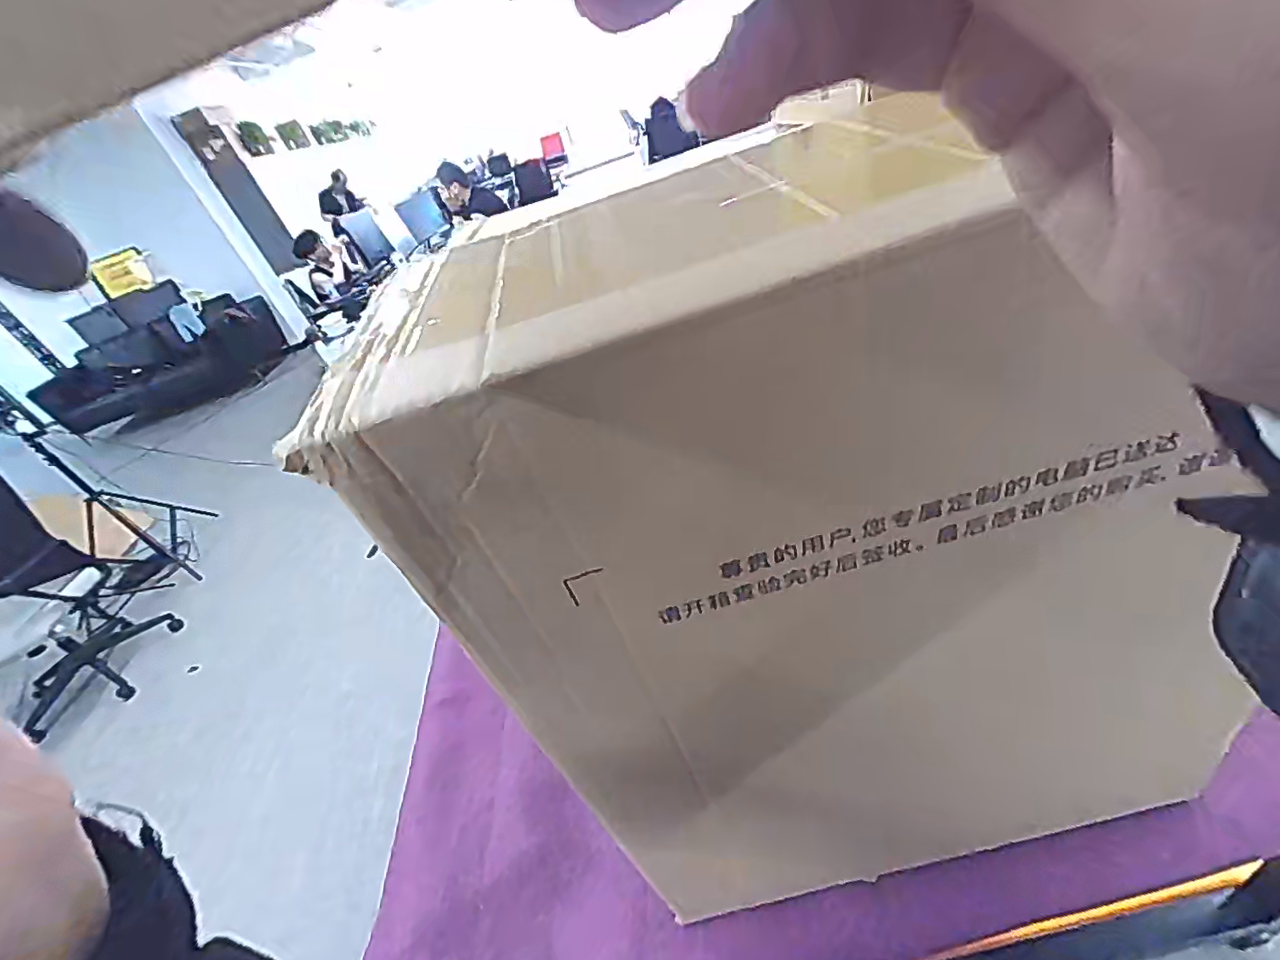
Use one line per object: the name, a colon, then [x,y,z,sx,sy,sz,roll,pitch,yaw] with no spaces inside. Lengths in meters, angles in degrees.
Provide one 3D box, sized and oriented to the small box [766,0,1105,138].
small box: [0.193,-0.362,0.372,0.179,0.176,0.168,-21,35,1]
